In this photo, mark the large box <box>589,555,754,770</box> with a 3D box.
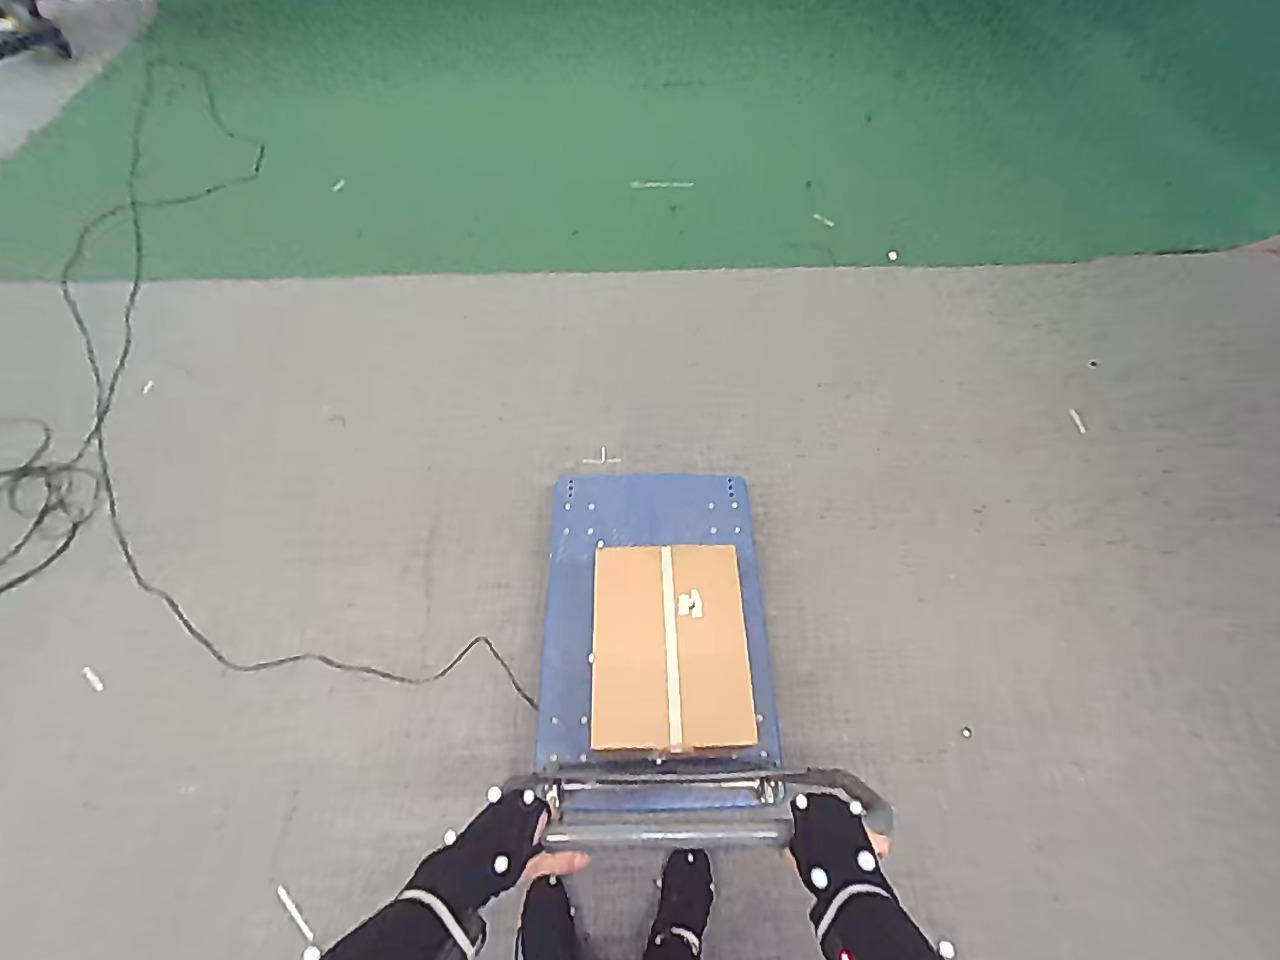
[{"bbox_3d":[0.054,0.421,1.235,0.320,0.320,0.408,0,58,-2],"label":"large box"}]
